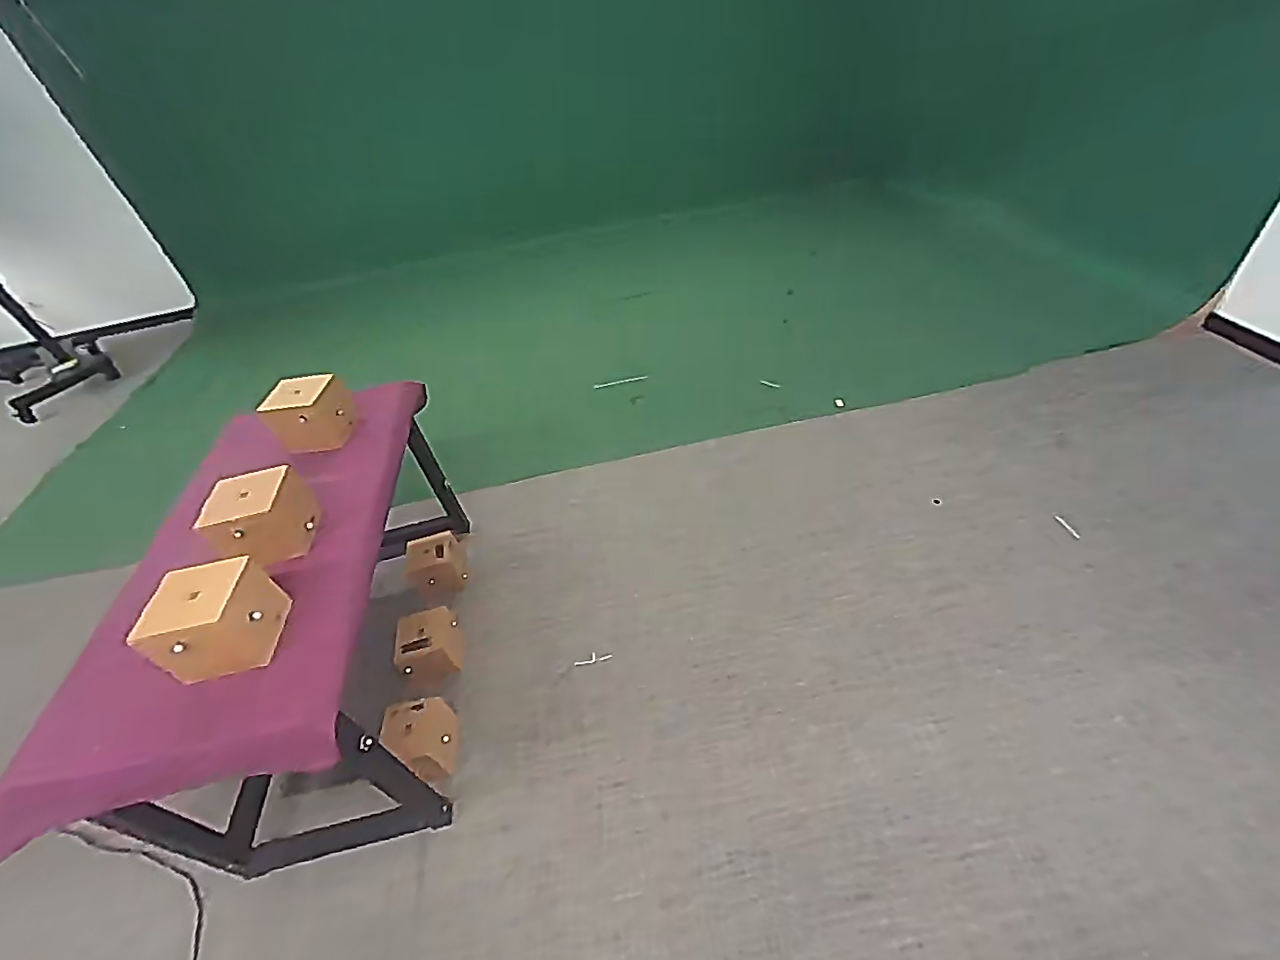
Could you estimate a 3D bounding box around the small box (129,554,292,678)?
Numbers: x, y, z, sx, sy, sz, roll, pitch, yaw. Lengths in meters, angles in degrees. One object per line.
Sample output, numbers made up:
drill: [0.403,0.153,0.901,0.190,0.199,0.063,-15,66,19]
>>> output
small box: [-0.867,0.283,1.118,0.179,0.176,0.168,-13,43,0]

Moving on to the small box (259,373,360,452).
small box: [-1.001,-0.204,1.657,0.179,0.176,0.168,-6,43,6]

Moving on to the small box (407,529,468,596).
small box: [-0.788,0.326,2.120,0.179,0.176,0.168,-16,43,-3]

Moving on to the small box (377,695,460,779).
small box: [-0.653,0.775,1.617,0.168,0.176,0.179,-11,44,0]

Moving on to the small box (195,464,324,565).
small box: [-0.924,0.092,1.332,0.179,0.176,0.168,-14,44,-3]
